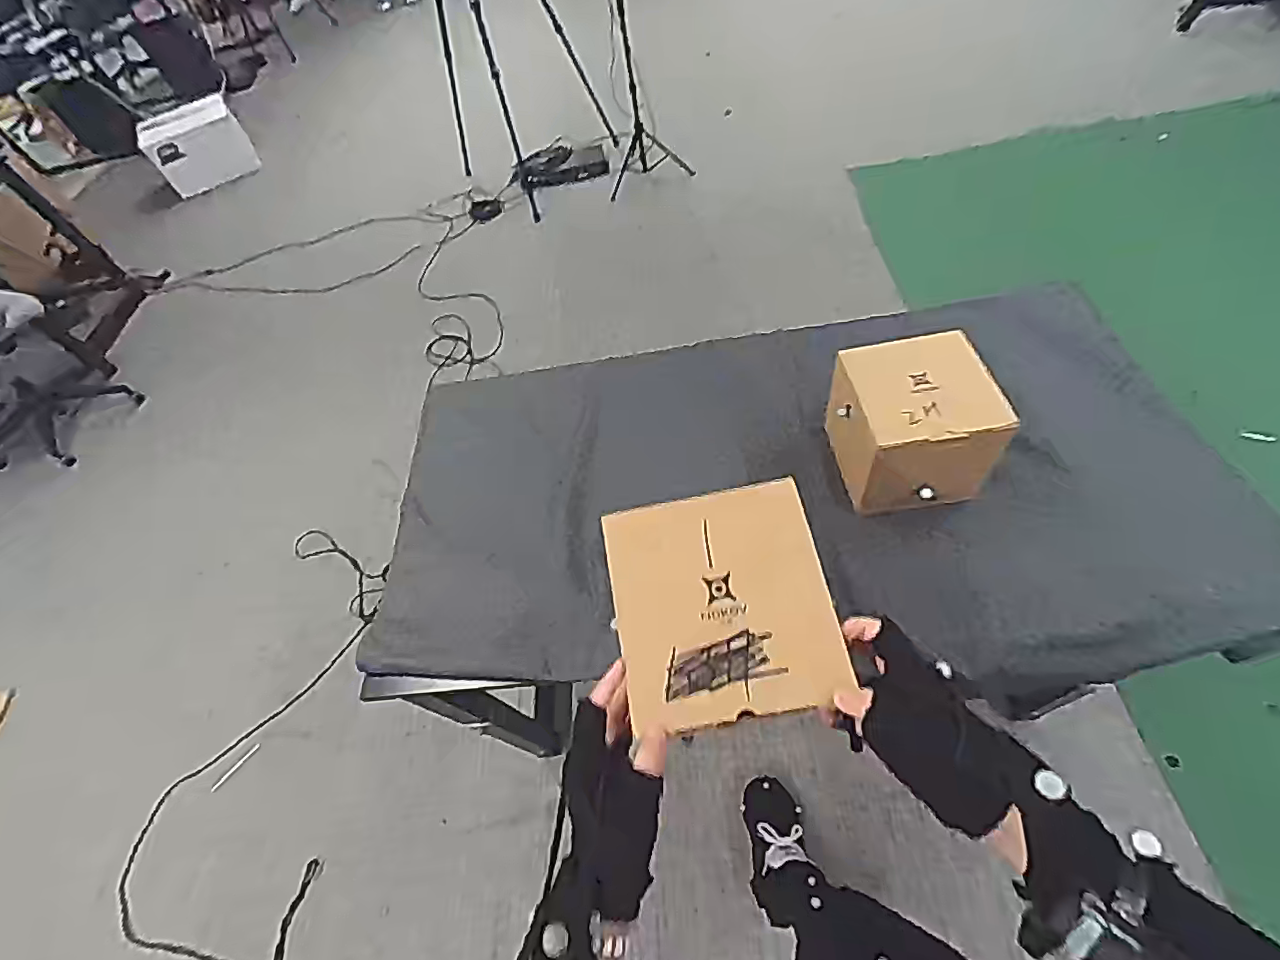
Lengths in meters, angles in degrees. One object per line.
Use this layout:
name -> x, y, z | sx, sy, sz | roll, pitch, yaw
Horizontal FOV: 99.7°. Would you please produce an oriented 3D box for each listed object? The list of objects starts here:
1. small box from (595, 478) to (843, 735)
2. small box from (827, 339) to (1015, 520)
small box -> 0.064, 0.121, 0.492 | 0.168, 0.176, 0.179 | -11, 66, 3
small box -> 0.371, -0.066, 0.758 | 0.168, 0.176, 0.179 | -9, 54, 6
